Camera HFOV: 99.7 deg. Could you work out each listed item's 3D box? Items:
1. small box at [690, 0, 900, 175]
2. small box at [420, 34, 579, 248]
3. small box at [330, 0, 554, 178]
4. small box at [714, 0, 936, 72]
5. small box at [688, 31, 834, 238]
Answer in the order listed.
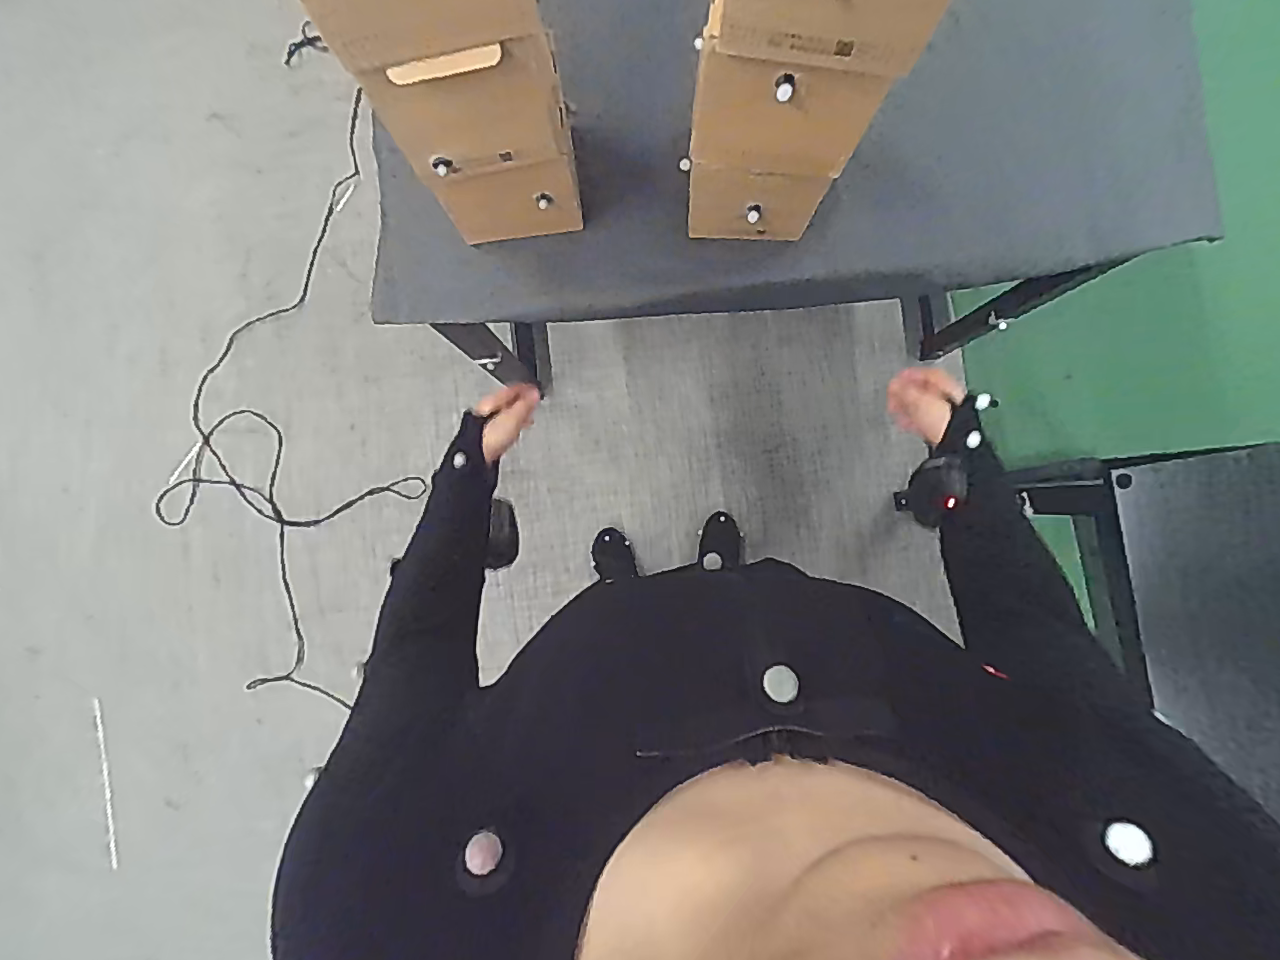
[{"bbox_3d":[0.151,-0.442,0.549,0.179,0.176,0.168,7,86,3],"label":"small box"},{"bbox_3d":[-0.181,-0.436,0.723,0.179,0.176,0.168,-9,85,2],"label":"small box"},{"bbox_3d":[-0.195,-0.444,0.559,0.168,0.176,0.179,-12,84,0],"label":"small box"},{"bbox_3d":[0.149,-0.439,0.384,0.168,0.176,0.179,9,87,2],"label":"small box"},{"bbox_3d":[0.152,-0.440,0.713,0.168,0.176,0.179,2,87,2],"label":"small box"}]
